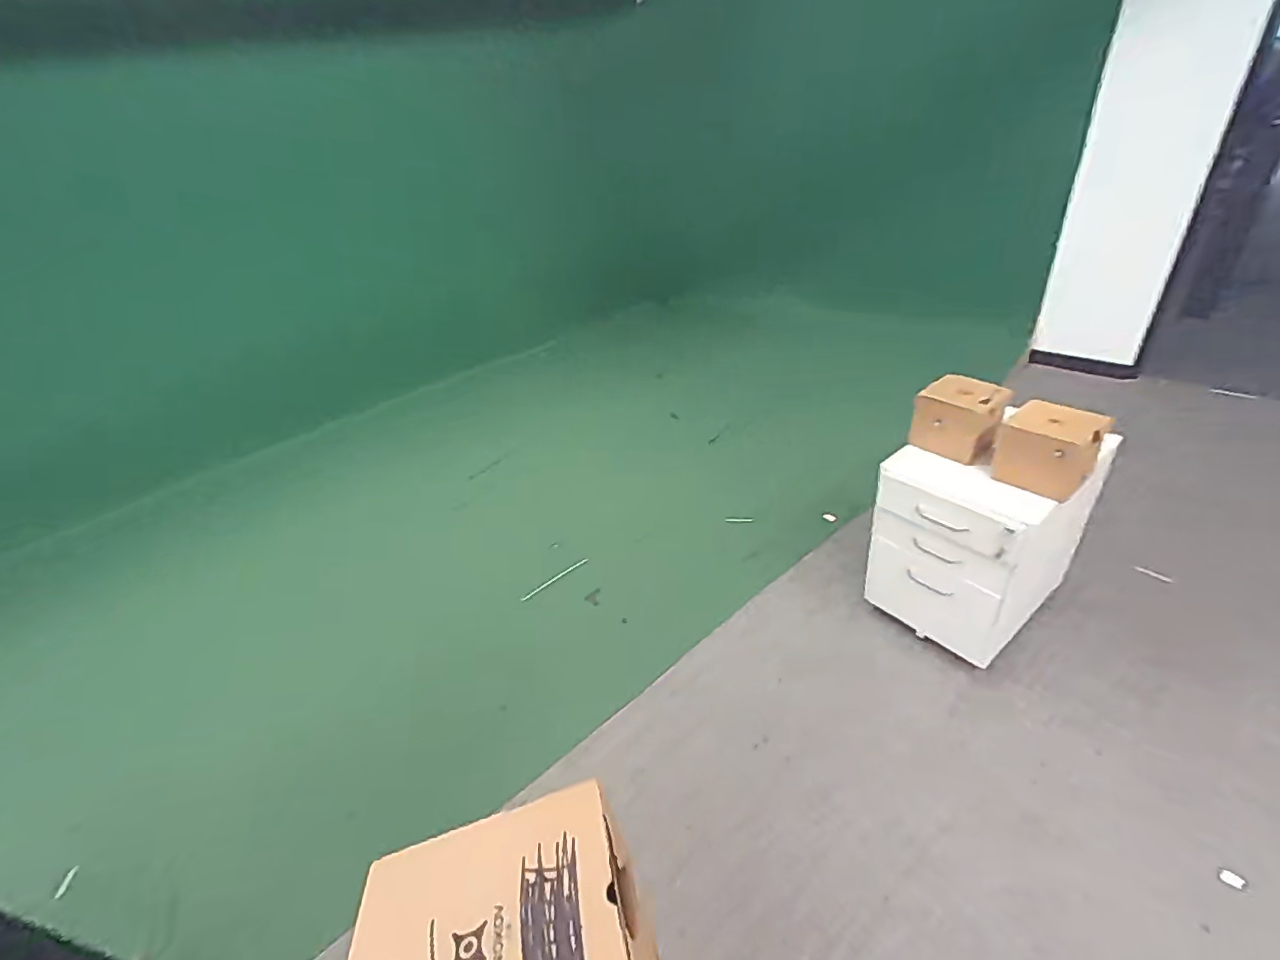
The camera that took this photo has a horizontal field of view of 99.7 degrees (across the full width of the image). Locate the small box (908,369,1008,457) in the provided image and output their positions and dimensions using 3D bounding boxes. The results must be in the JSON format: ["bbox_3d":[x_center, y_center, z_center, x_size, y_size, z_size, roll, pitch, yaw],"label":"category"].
[{"bbox_3d":[0.880,-0.186,1.513,0.168,0.176,0.179,-30,40,-26],"label":"small box"}]
